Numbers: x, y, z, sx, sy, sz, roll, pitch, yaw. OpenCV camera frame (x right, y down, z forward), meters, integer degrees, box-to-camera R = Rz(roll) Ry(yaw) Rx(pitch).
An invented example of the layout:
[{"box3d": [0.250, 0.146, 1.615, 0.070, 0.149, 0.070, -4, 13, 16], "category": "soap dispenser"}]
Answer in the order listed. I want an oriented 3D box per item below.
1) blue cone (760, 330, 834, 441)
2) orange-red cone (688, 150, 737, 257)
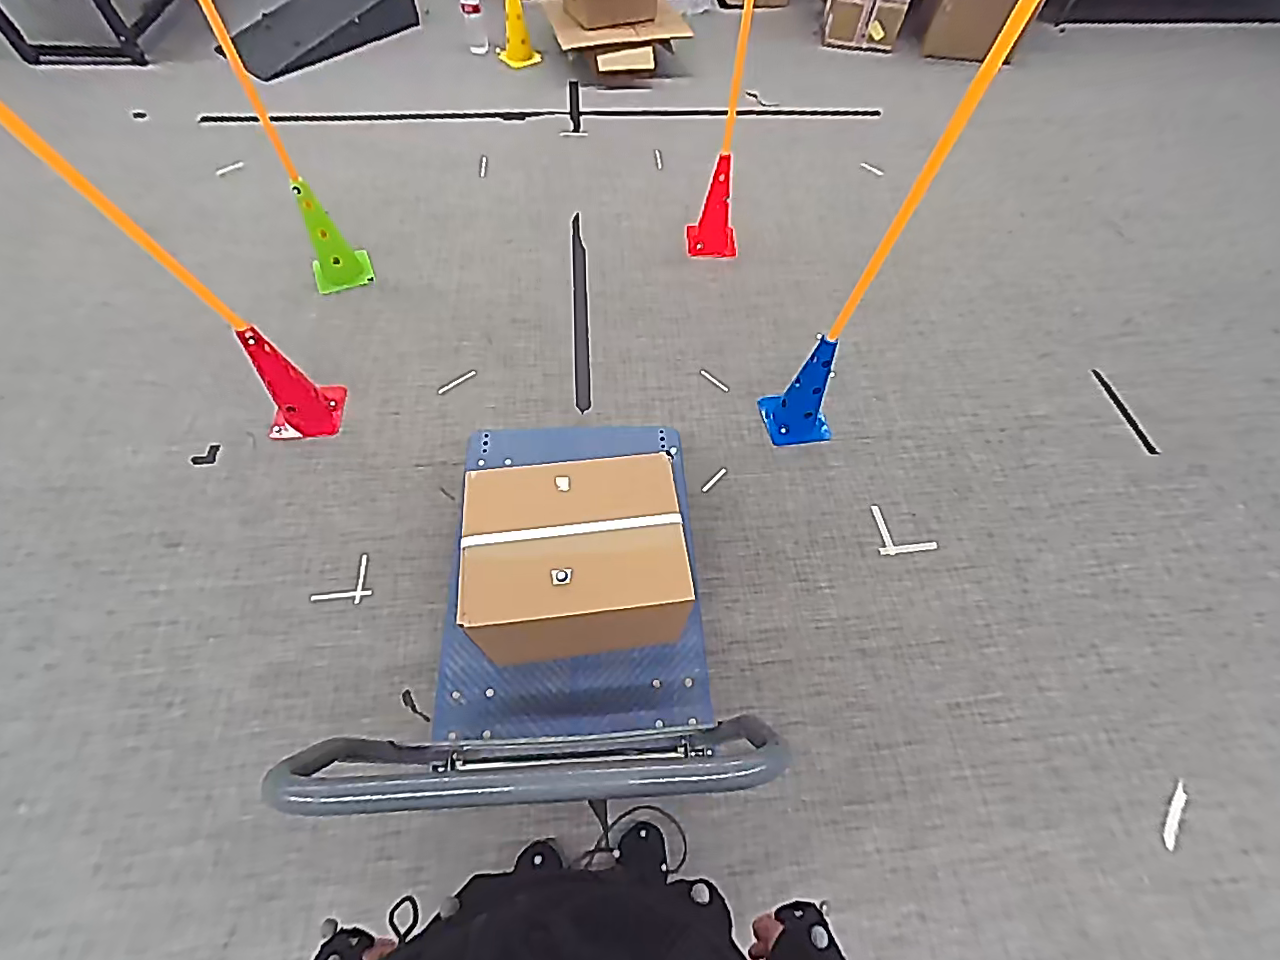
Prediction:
[{"box3d": [0.510, -0.293, 1.630, 0.193, 0.380, 0.192, -7, 59, -7], "category": "blue cone"}, {"box3d": [0.303, -1.068, 2.062, 0.199, 0.360, 0.198, 3, 60, -2], "category": "orange-red cone"}]
